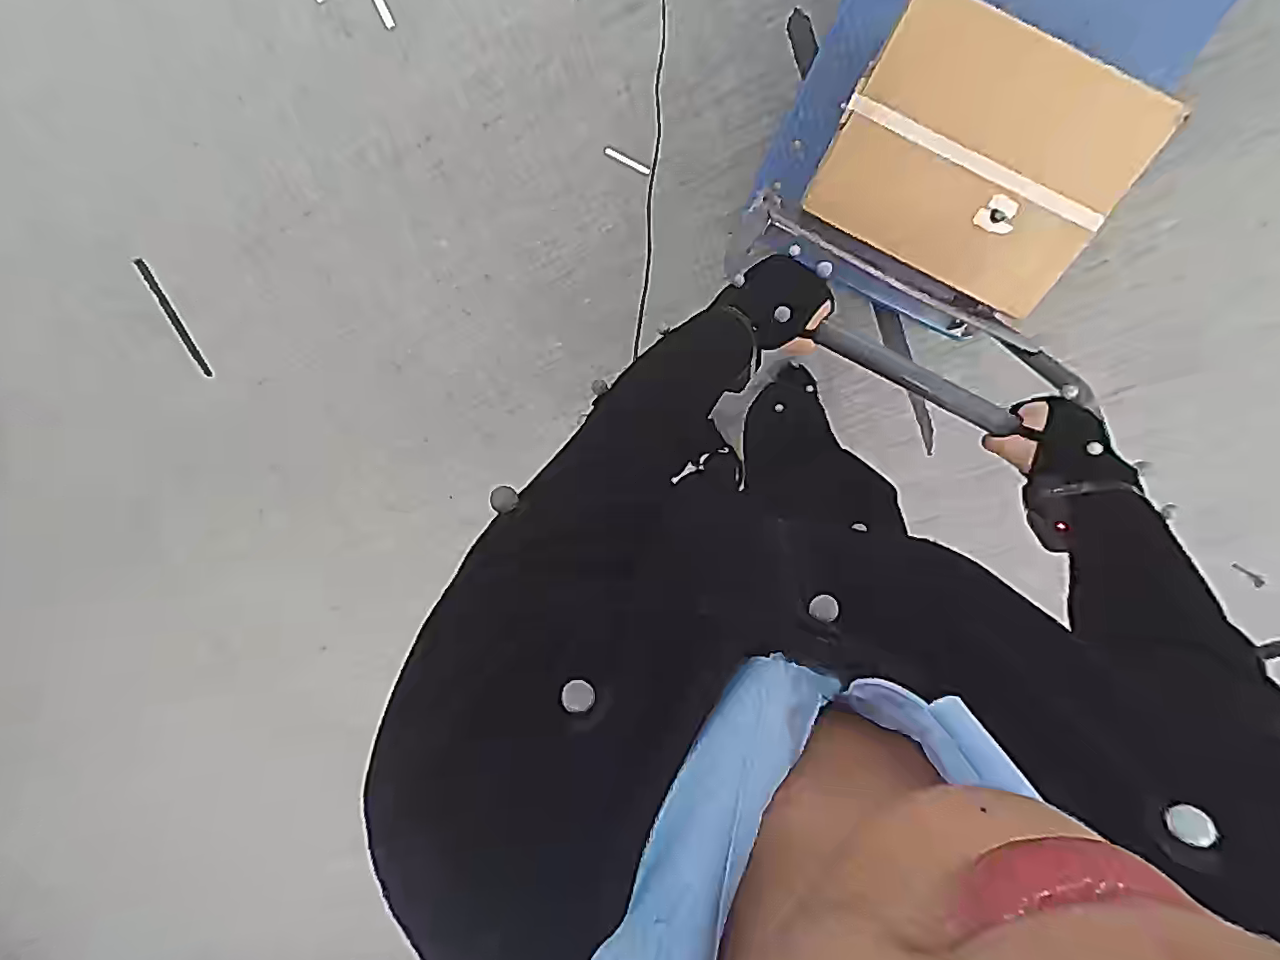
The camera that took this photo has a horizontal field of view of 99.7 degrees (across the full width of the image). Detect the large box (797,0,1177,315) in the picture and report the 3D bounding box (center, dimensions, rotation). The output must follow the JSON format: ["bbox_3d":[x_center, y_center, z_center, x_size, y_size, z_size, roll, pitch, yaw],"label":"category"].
[{"bbox_3d":[0.534,-0.539,0.944,0.408,0.320,0.320,27,120,0],"label":"large box"}]
